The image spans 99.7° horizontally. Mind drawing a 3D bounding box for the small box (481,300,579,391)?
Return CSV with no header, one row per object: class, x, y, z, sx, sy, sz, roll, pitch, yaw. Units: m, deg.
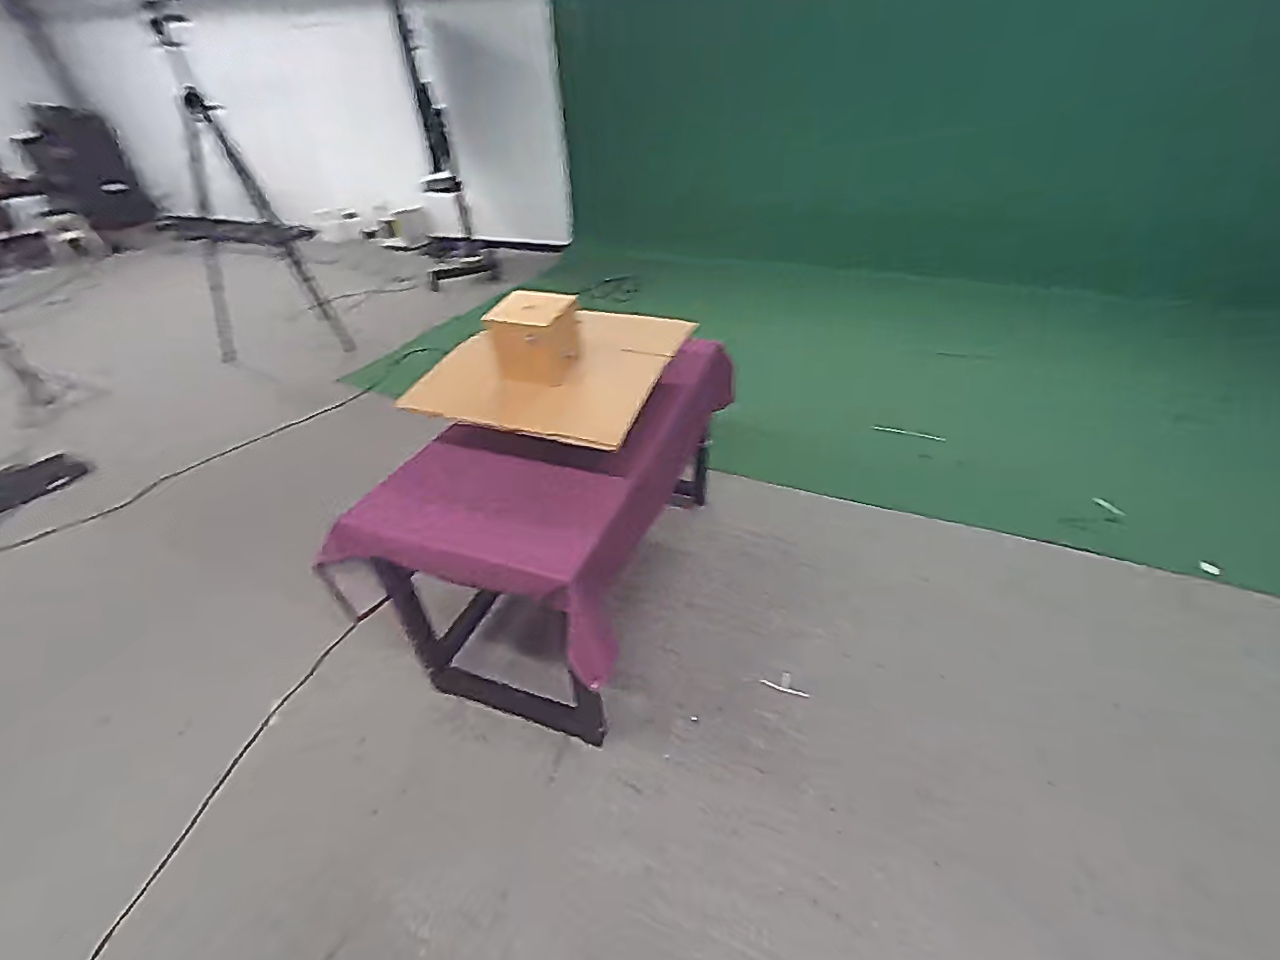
small box,-0.276,-0.348,1.401,0.179,0.176,0.168,11,46,16
